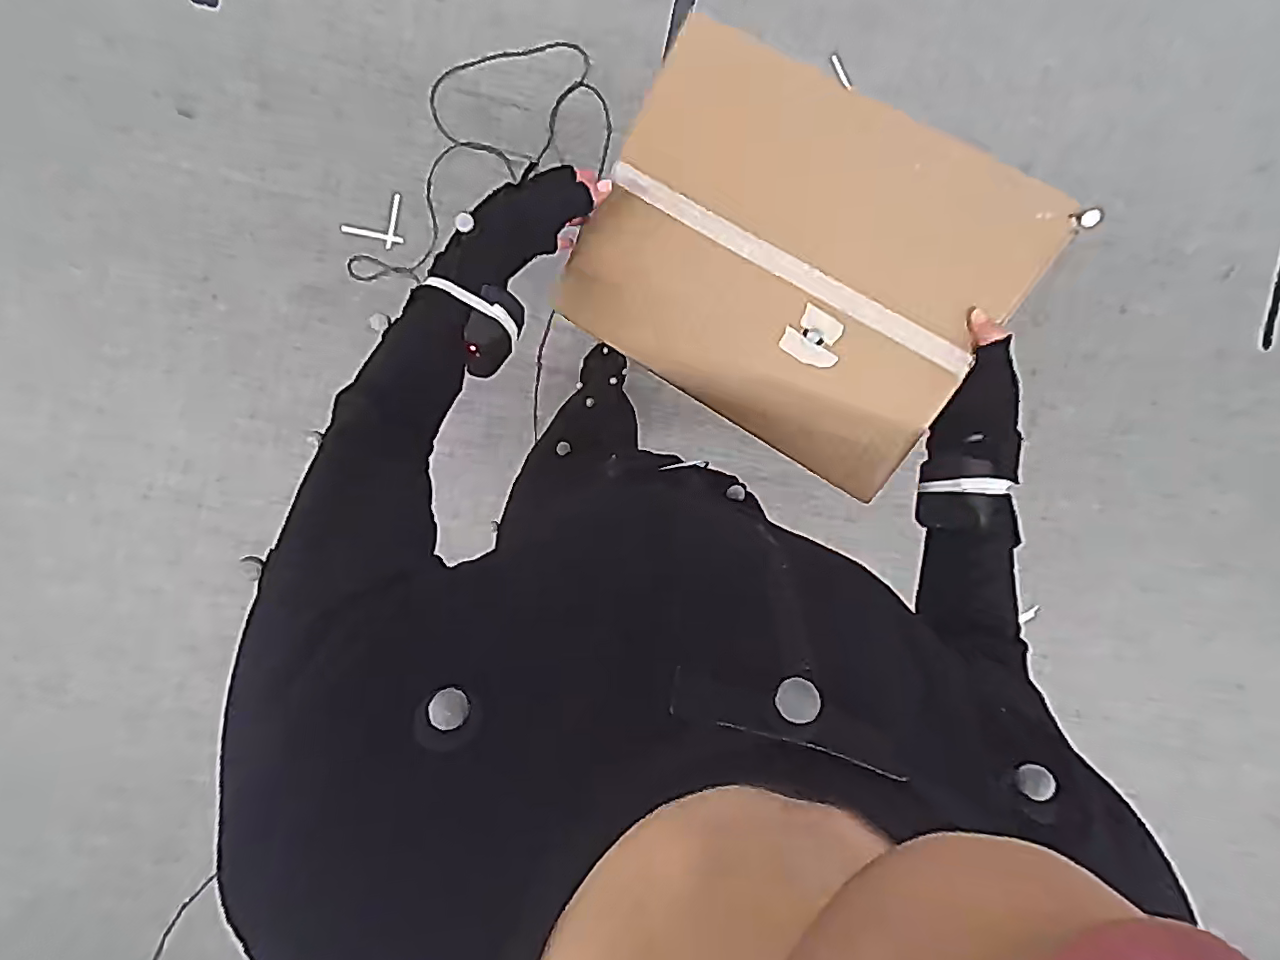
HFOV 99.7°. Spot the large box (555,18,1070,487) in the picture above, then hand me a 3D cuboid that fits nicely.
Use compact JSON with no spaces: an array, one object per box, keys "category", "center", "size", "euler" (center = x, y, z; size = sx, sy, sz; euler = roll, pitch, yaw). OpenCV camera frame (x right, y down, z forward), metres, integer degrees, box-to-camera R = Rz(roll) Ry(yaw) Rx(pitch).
[{"category":"large box","center":[0.176,-0.247,0.681],"size":[0.408,0.320,0.320],"euler":[33,108,6]}]
